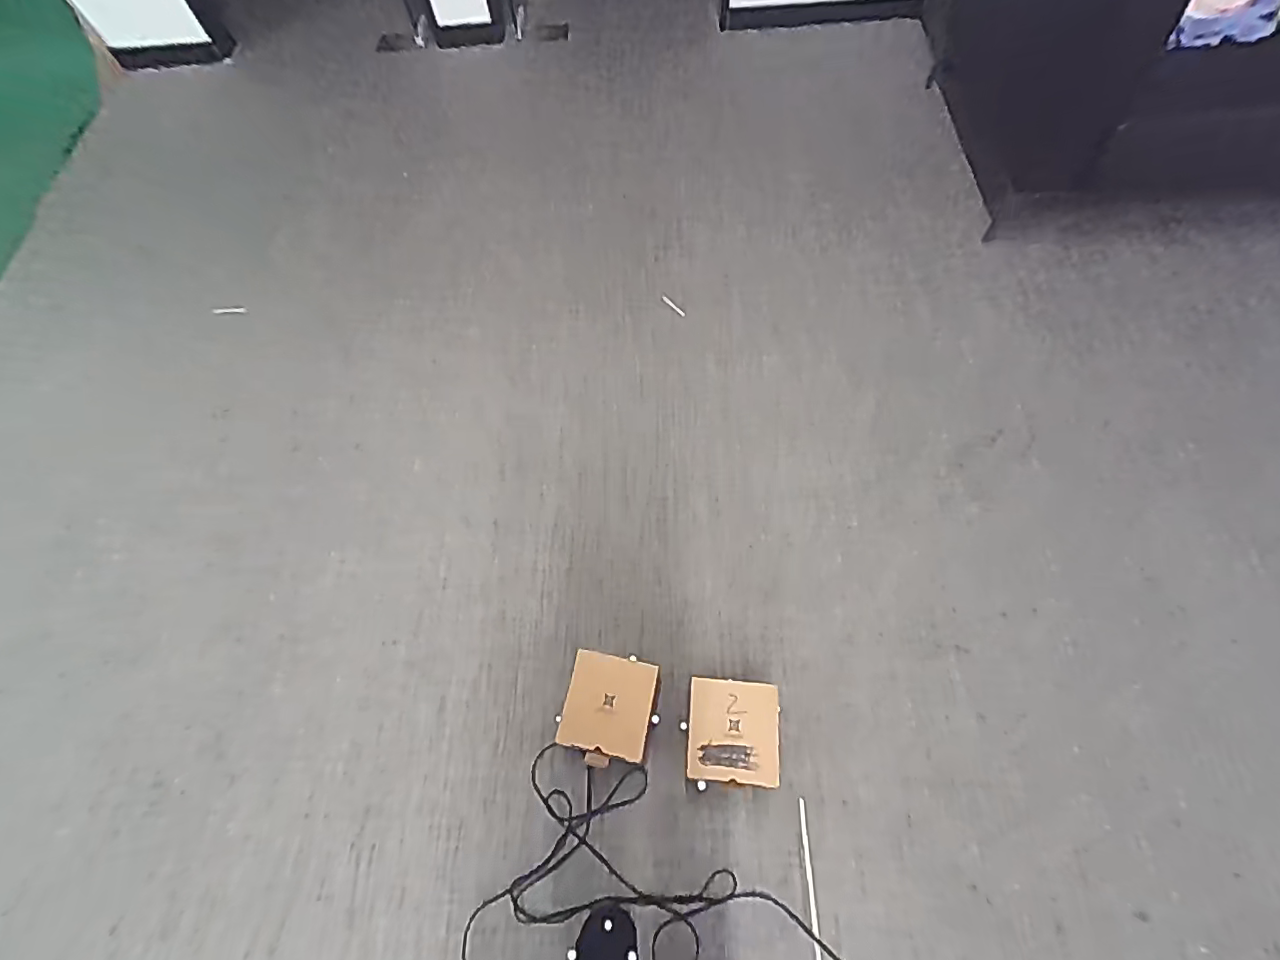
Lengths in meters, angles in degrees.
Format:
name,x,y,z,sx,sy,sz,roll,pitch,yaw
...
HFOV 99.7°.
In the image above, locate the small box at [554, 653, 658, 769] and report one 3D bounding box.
name,x,y,z,sx,sy,sz,roll,pitch,yaw
small box,-0.060,0.469,1.100,0.168,0.176,0.179,10,66,8
